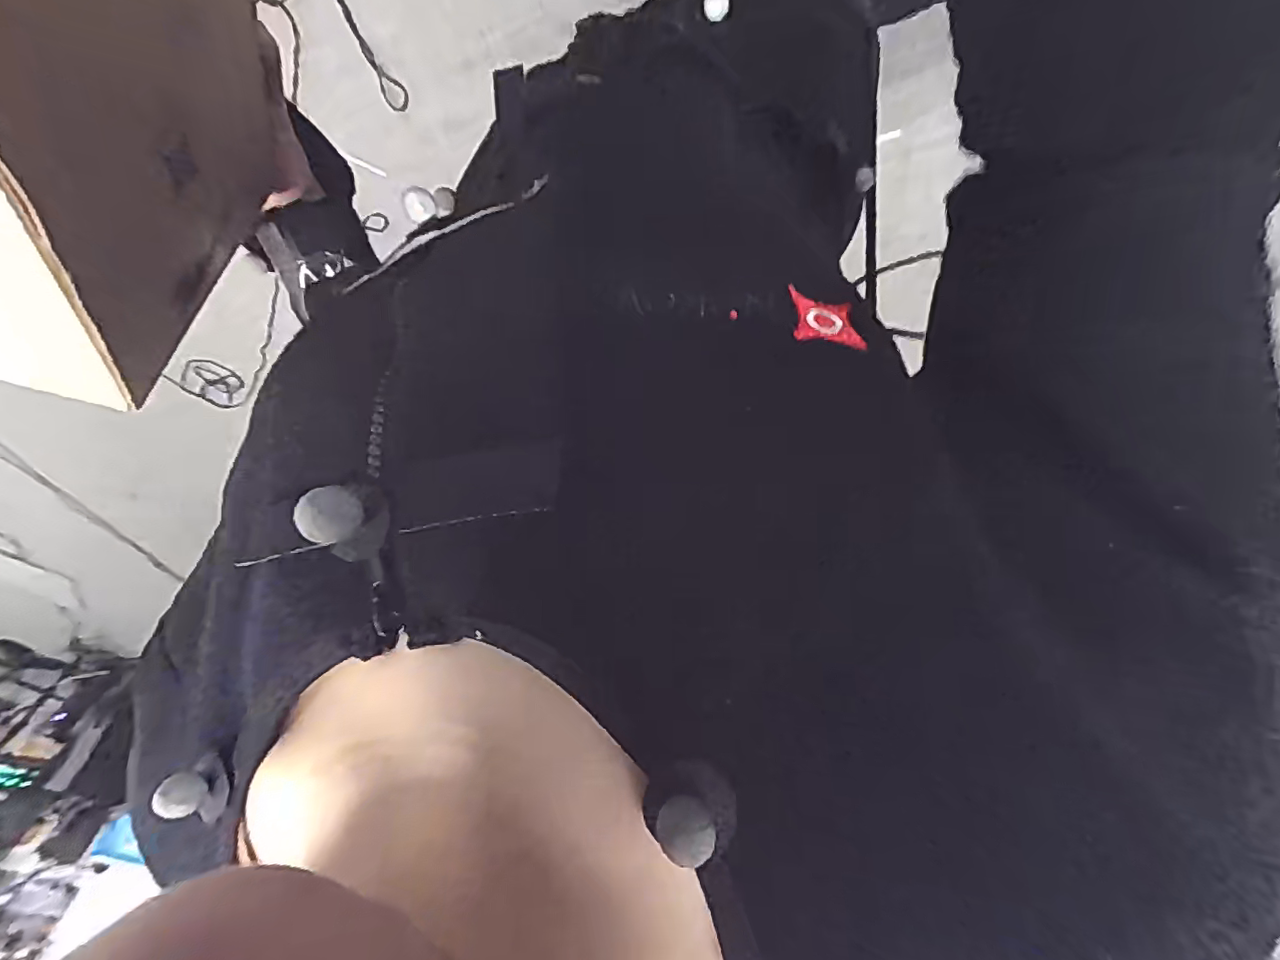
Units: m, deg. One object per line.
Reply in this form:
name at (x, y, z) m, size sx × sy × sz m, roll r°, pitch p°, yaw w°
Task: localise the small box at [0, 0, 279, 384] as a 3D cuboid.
small box at (-0.261, -0.167, 0.195) m, size 0.176 × 0.168 × 0.179 m, roll 16°, pitch 150°, yaw -22°
